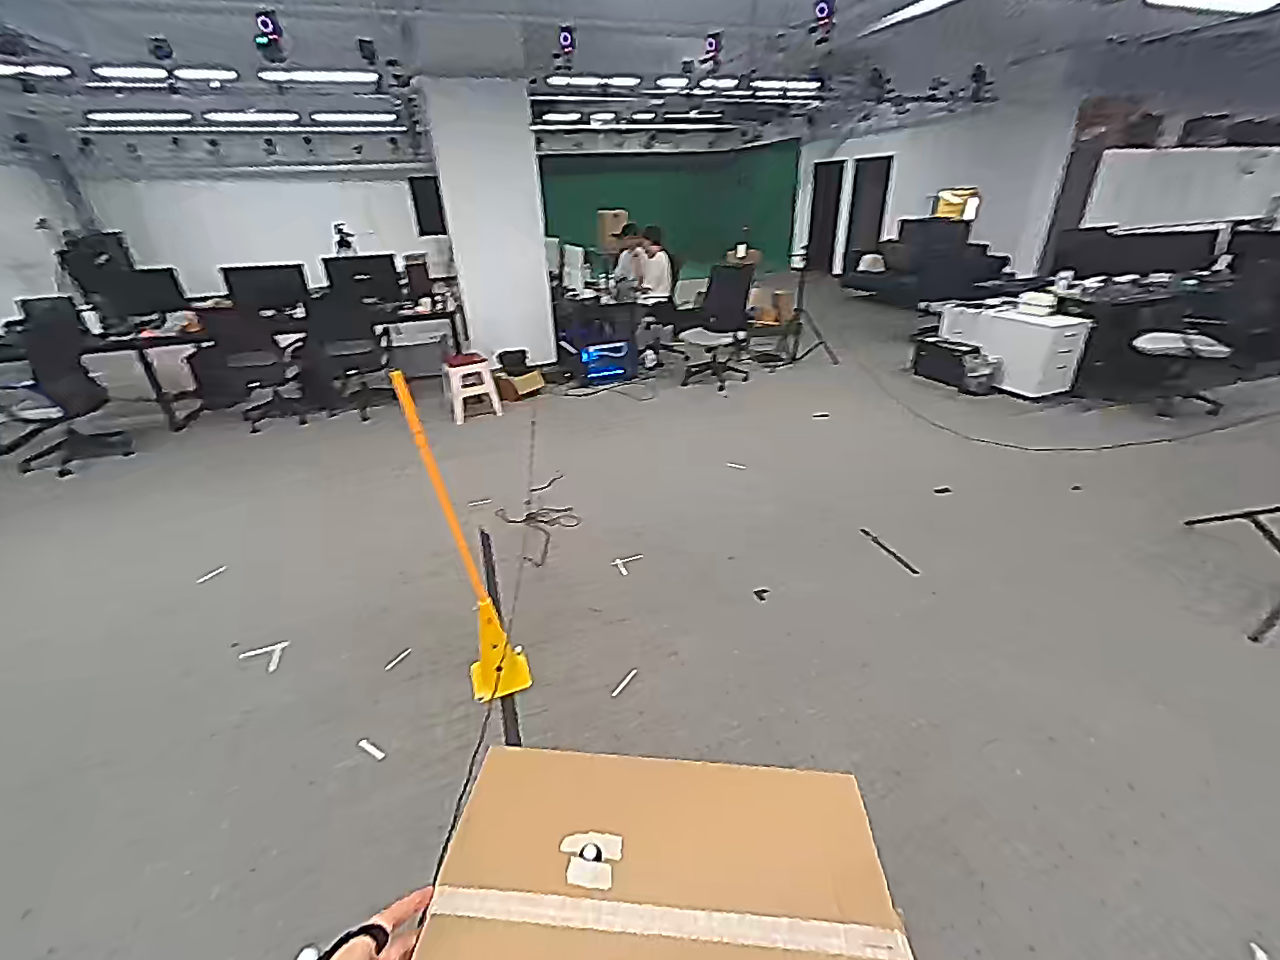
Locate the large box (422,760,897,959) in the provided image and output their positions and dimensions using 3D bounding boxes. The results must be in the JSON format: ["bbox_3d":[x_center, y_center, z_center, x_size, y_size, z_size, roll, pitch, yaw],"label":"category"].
[{"bbox_3d":[0.022,0.521,0.536,0.408,0.320,0.320,1,26,4],"label":"large box"}]
